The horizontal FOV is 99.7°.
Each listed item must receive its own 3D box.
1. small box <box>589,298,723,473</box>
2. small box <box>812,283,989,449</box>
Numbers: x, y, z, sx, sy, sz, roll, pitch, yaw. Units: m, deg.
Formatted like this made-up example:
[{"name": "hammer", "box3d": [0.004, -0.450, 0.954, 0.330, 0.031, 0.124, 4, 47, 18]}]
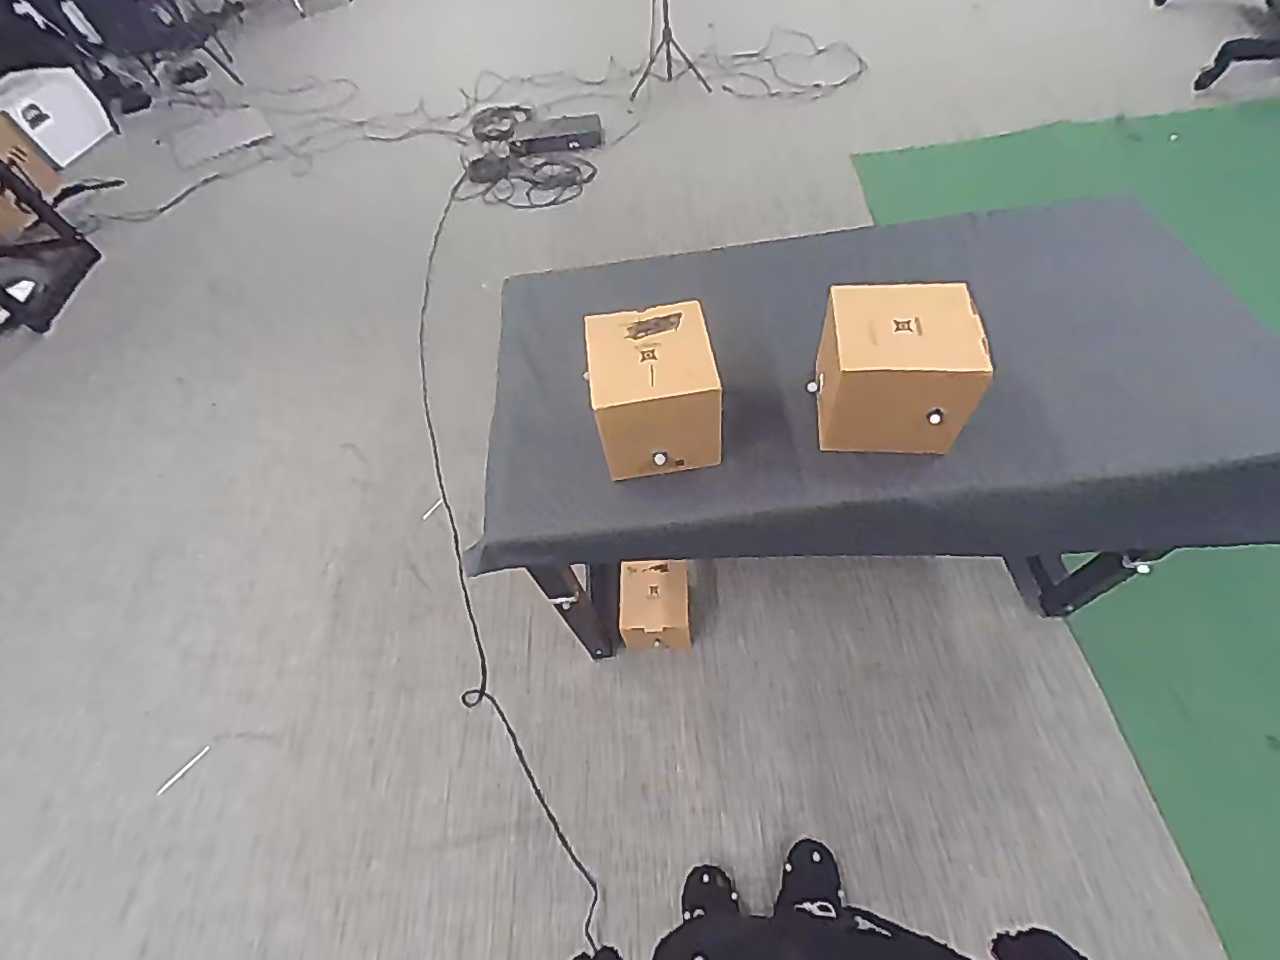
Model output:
[{"name": "small box", "box3d": [0.022, -0.134, 0.787, 0.168, 0.176, 0.179, -8, 57, 2]}, {"name": "small box", "box3d": [0.350, -0.156, 0.765, 0.179, 0.176, 0.168, 2, 56, 9]}]
